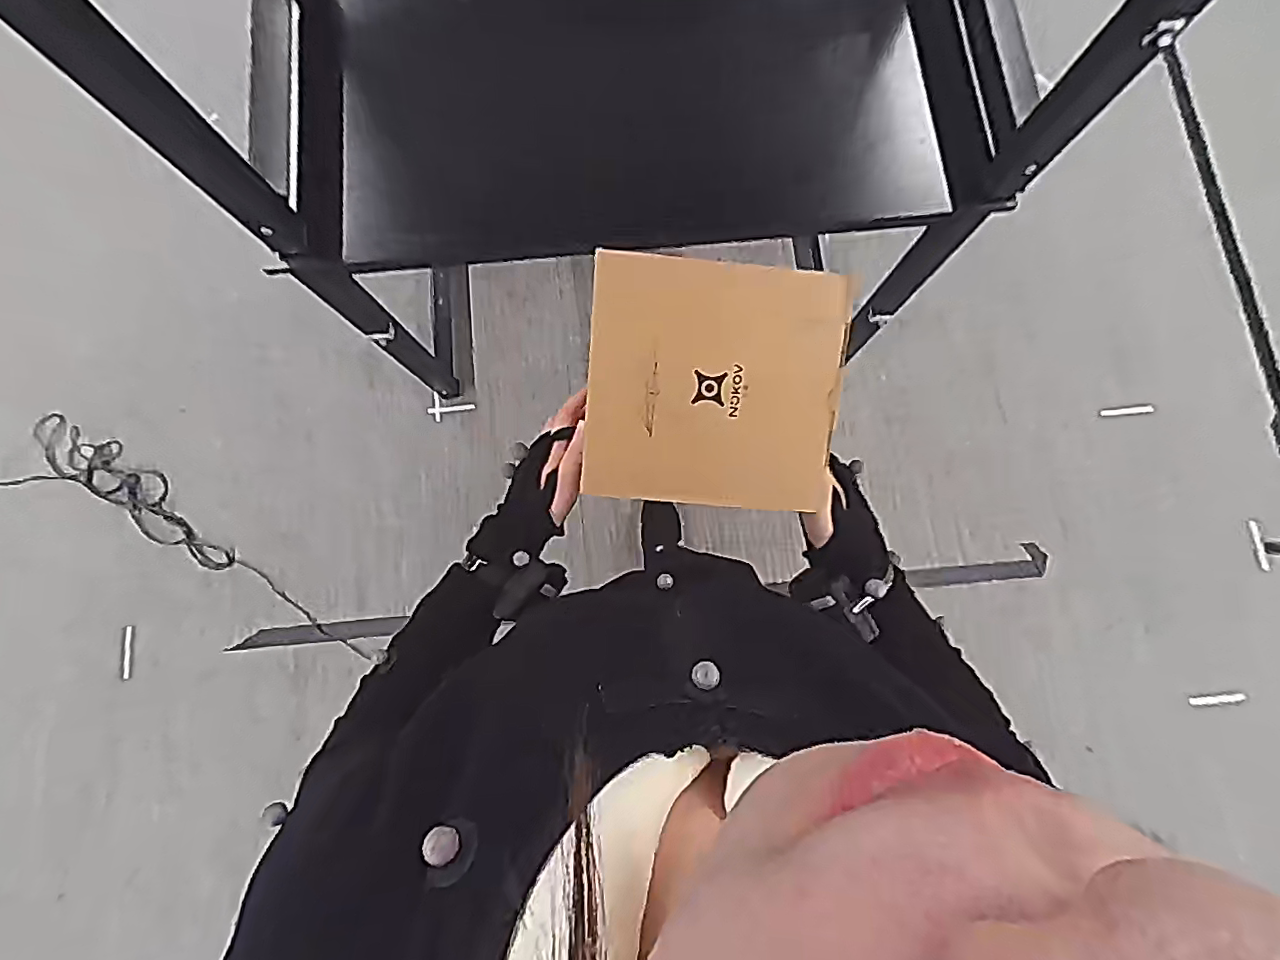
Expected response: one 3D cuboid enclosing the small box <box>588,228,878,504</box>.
[{"bbox_3d":[0.055,-0.087,0.432,0.179,0.176,0.168,5,102,-3],"label":"small box"}]
